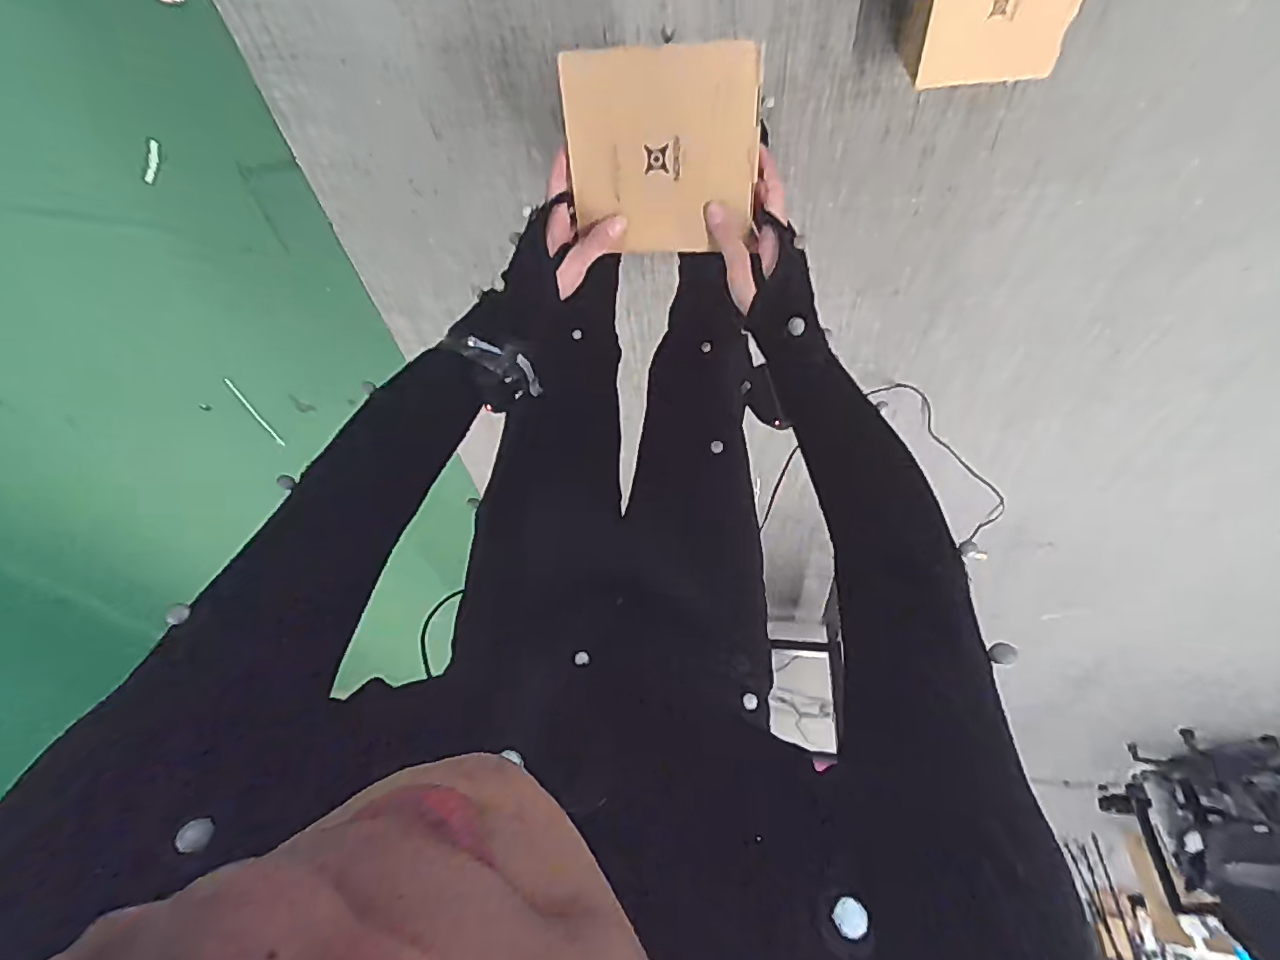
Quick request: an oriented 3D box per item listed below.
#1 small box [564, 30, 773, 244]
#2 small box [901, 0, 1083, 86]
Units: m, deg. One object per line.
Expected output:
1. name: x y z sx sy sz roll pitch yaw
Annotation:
1. small box: 0.035 -0.350 0.552 0.179 0.176 0.168 4 128 8
2. small box: 0.469 -0.656 0.724 0.179 0.176 0.168 1 141 9
